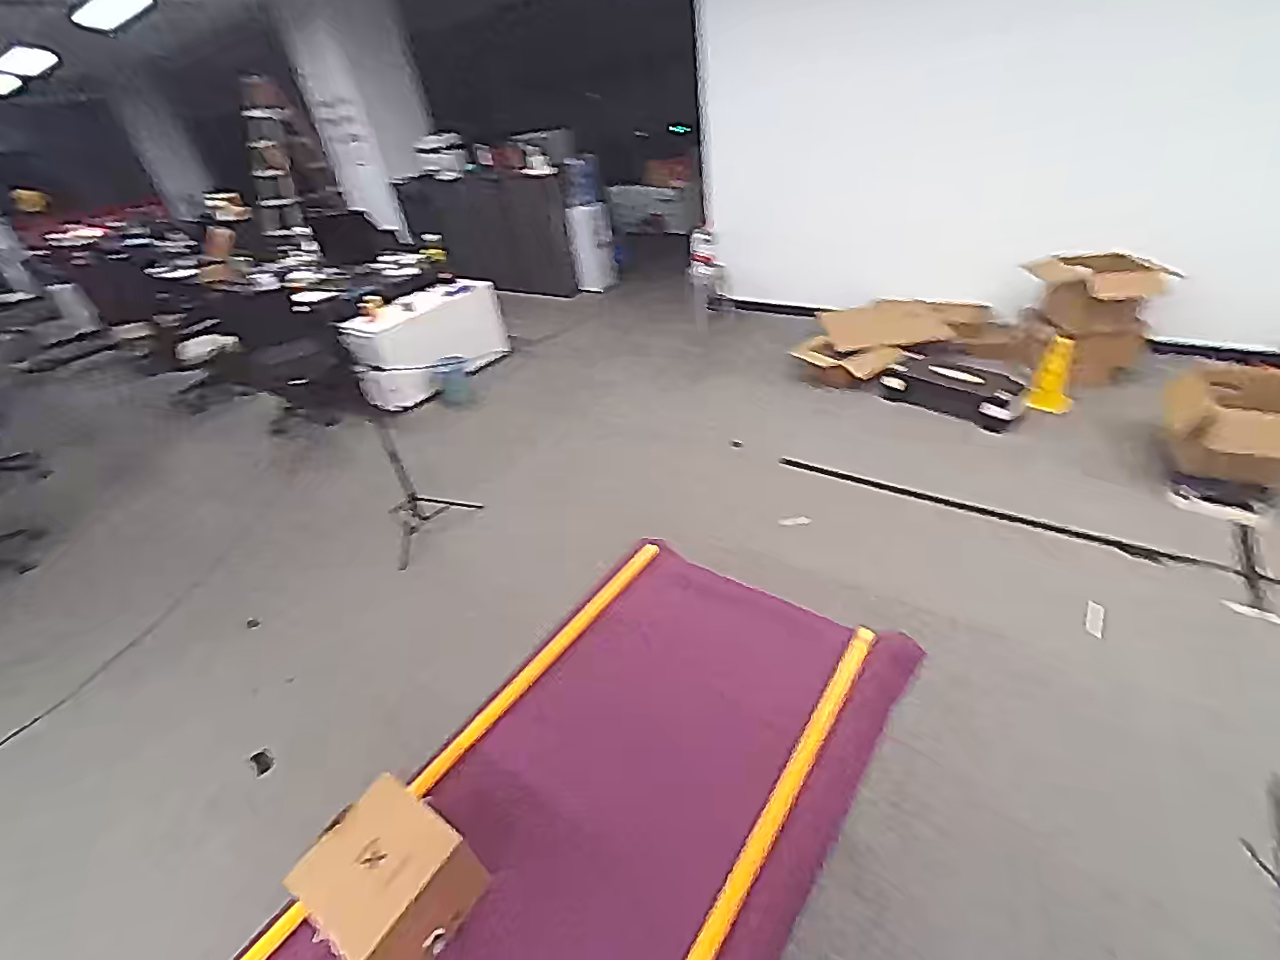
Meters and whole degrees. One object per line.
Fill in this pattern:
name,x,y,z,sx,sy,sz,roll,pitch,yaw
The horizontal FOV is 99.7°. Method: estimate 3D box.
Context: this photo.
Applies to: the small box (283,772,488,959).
small box,-0.350,0.567,0.767,0.179,0.176,0.168,17,44,30
